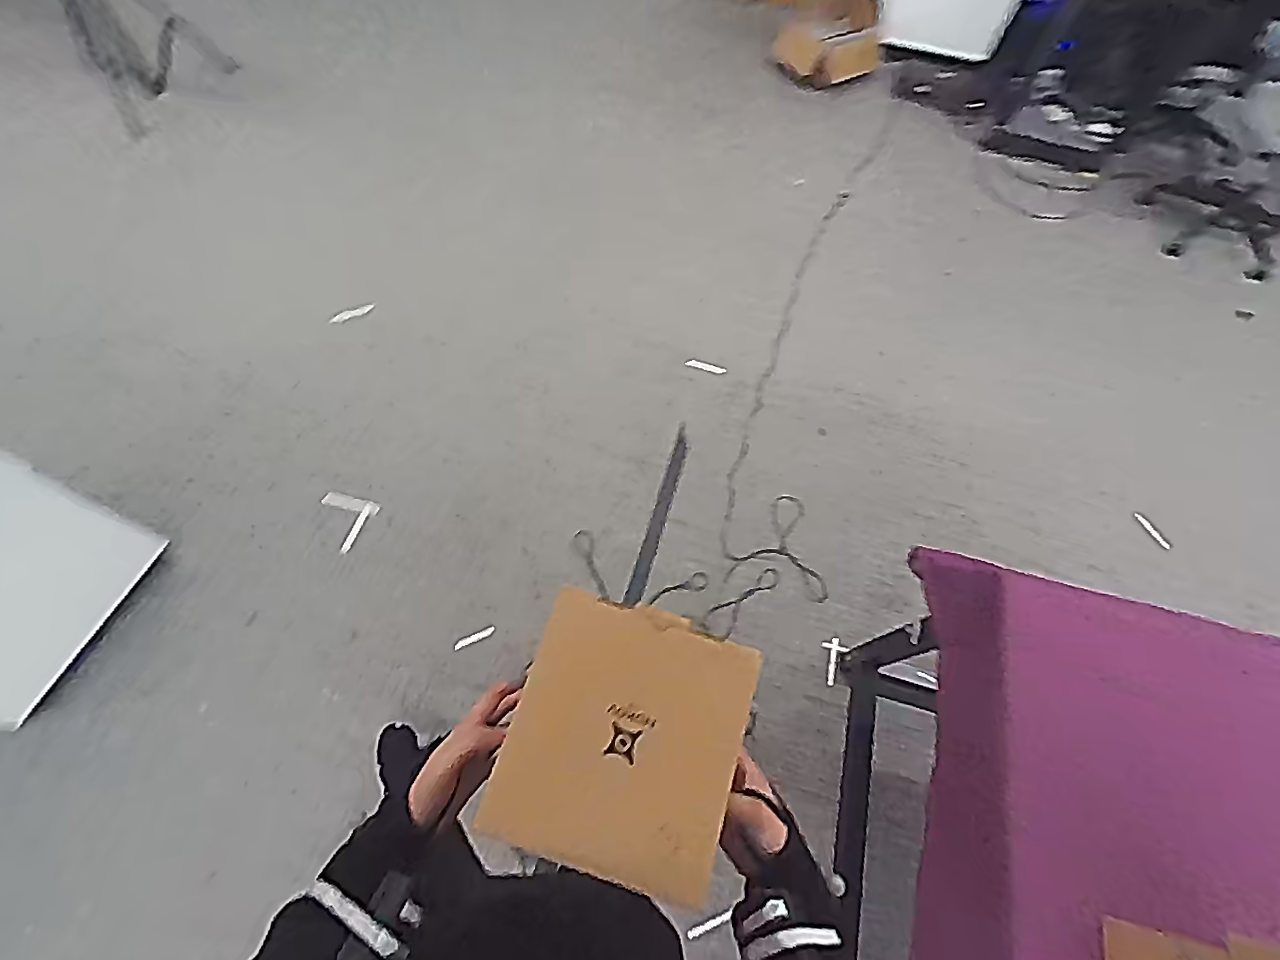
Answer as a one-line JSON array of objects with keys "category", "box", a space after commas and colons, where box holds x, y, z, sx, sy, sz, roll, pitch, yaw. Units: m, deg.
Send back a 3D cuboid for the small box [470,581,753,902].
[{"category": "small box", "box": [-0.019, 0.207, 0.467, 0.168, 0.176, 0.179, 18, 70, 3]}]
